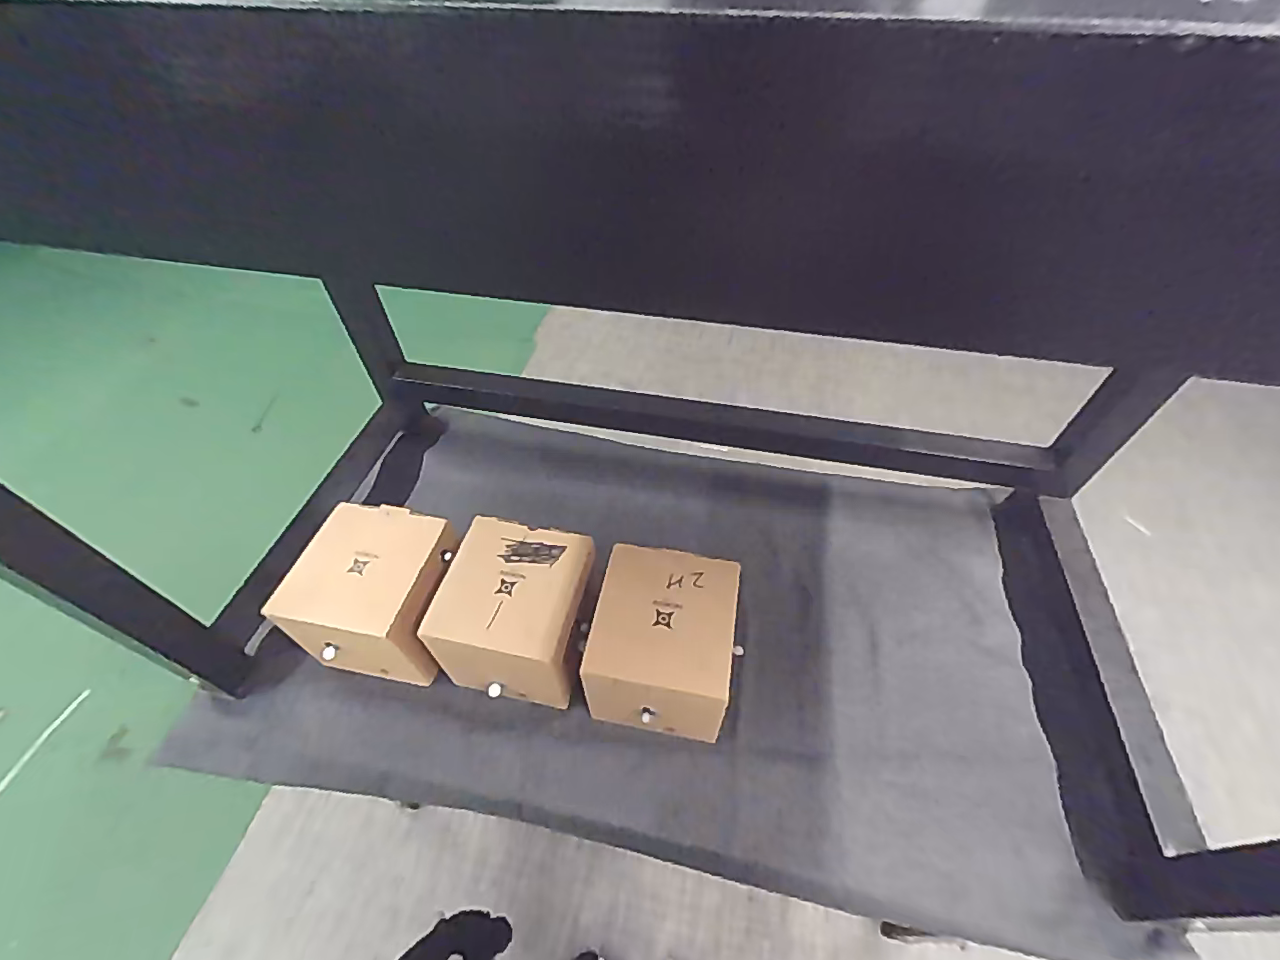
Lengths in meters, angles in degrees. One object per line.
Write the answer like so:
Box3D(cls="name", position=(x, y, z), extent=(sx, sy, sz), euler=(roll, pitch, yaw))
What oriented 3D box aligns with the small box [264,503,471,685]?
Box3D(cls="small box", position=(-0.353, 0.160, 0.747), extent=(0.168, 0.176, 0.179), euler=(9, 49, 8))
